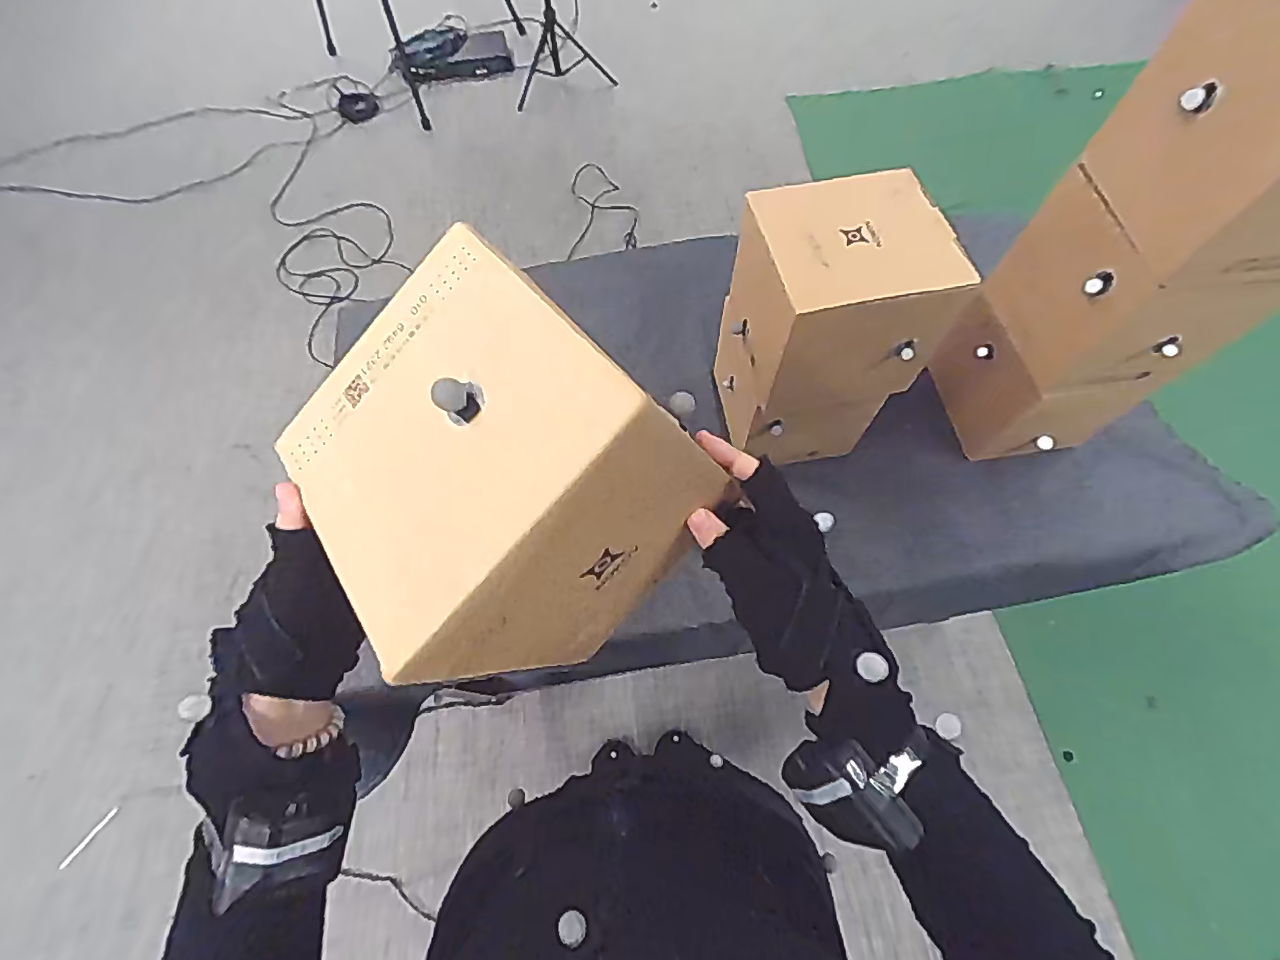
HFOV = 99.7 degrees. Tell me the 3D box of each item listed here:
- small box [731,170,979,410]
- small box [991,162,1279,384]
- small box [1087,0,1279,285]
[{"bbox_3d":[0.211,-0.197,0.589,0.179,0.176,0.168,-10,64,-3],"label":"small box"},{"bbox_3d":[0.531,-0.218,0.587,0.168,0.176,0.179,-6,65,-1],"label":"small box"},{"bbox_3d":[0.525,-0.286,0.438,0.168,0.176,0.179,-5,64,1],"label":"small box"}]
